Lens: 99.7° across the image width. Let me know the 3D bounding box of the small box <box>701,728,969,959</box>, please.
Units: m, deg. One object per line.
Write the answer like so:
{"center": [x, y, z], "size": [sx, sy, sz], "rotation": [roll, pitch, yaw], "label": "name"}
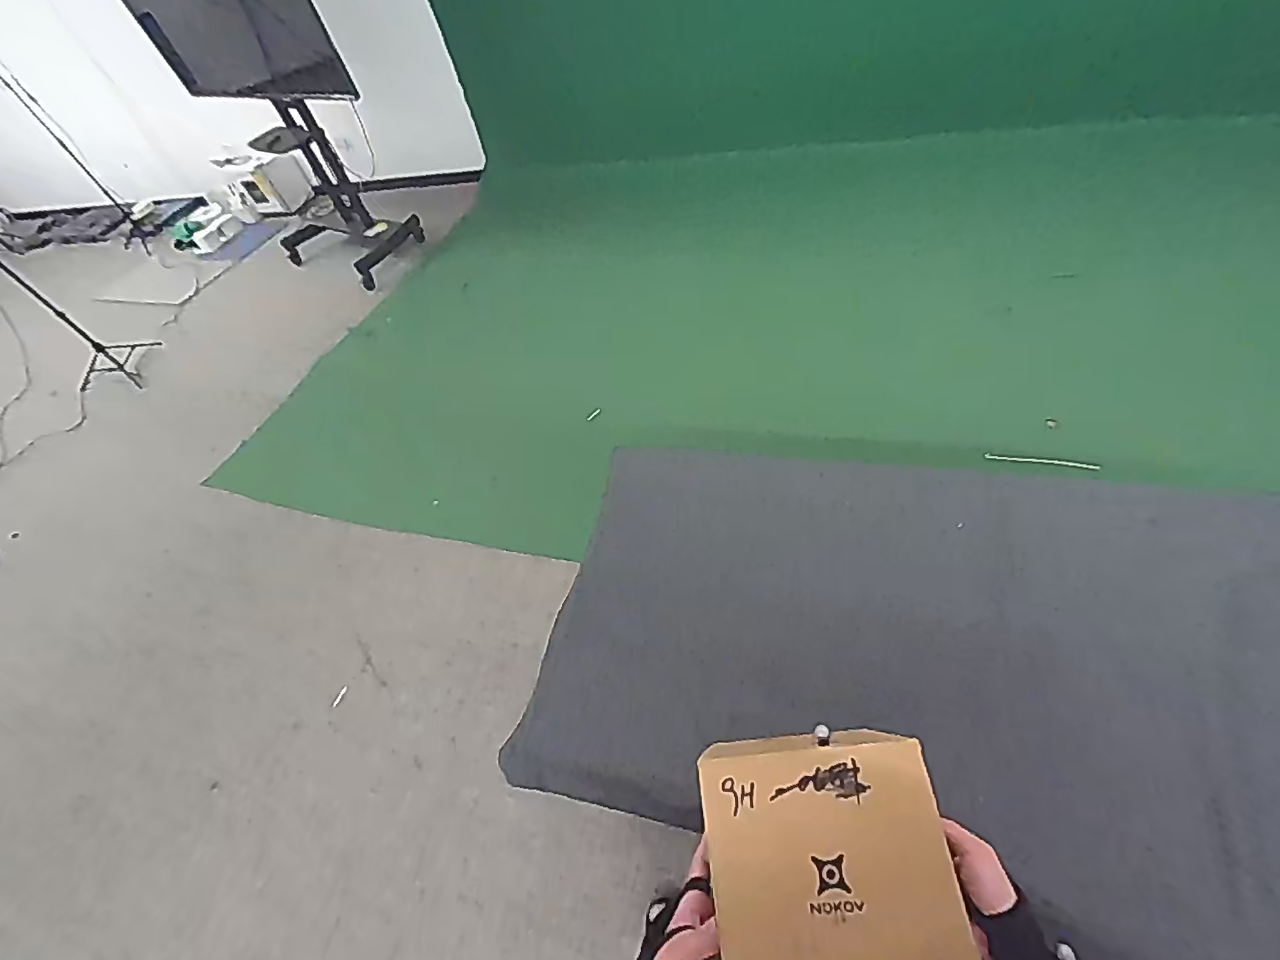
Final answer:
{"center": [0.149, 0.318, 0.458], "size": [0.168, 0.176, 0.179], "rotation": [-9, 68, 7], "label": "small box"}
